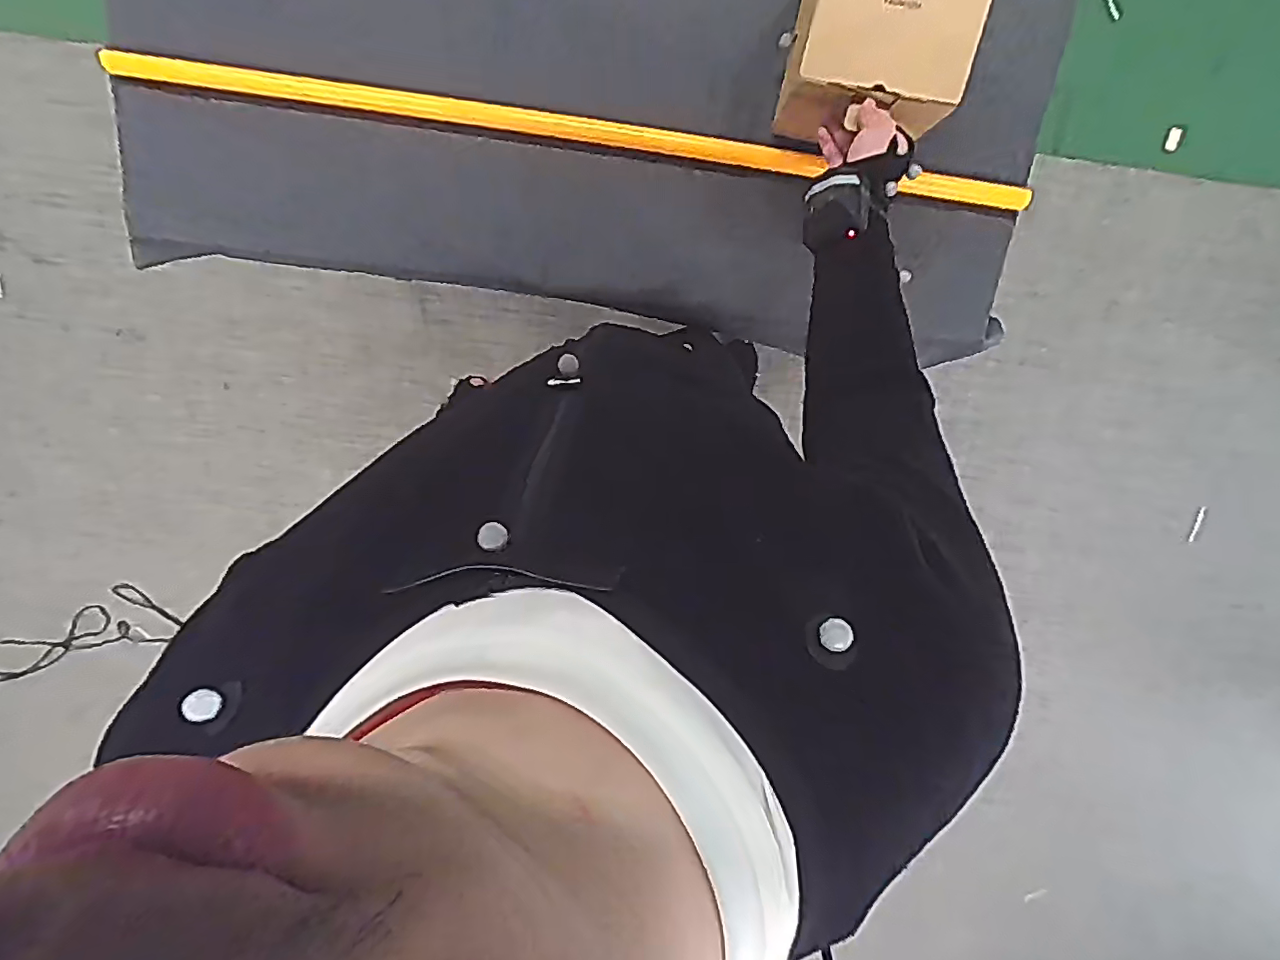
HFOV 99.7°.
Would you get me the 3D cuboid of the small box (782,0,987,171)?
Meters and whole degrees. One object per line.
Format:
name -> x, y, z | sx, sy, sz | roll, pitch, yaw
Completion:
small box -> 0.268, -0.479, 0.621 | 0.168, 0.176, 0.179 | 10, 103, 4
